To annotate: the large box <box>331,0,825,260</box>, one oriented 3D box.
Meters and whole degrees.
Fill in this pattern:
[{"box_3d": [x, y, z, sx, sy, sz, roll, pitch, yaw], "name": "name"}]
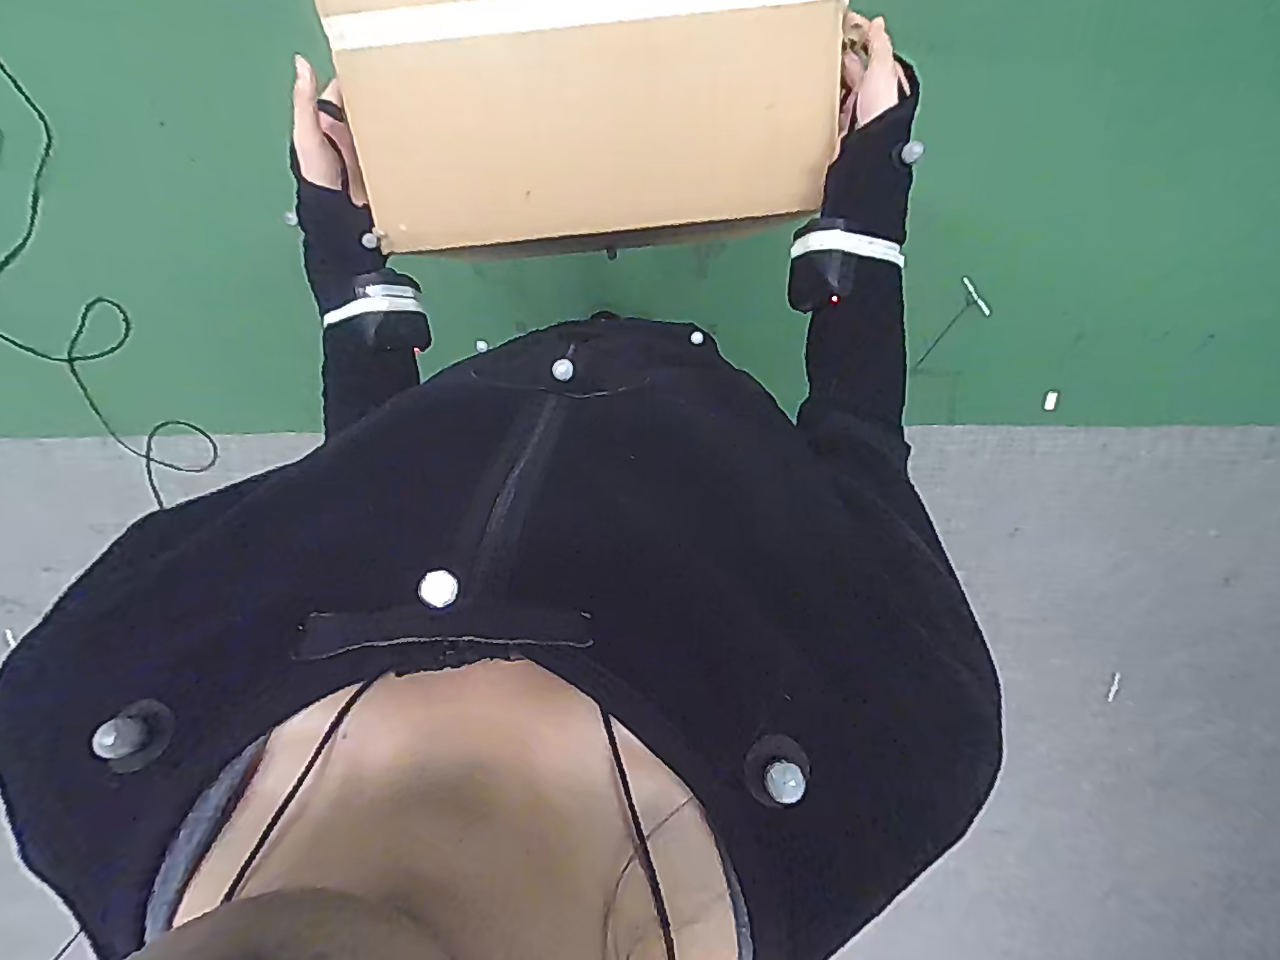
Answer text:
[{"box_3d": [-0.050, -0.420, 0.580, 0.408, 0.320, 0.320, -5, 111, -1], "name": "large box"}]
